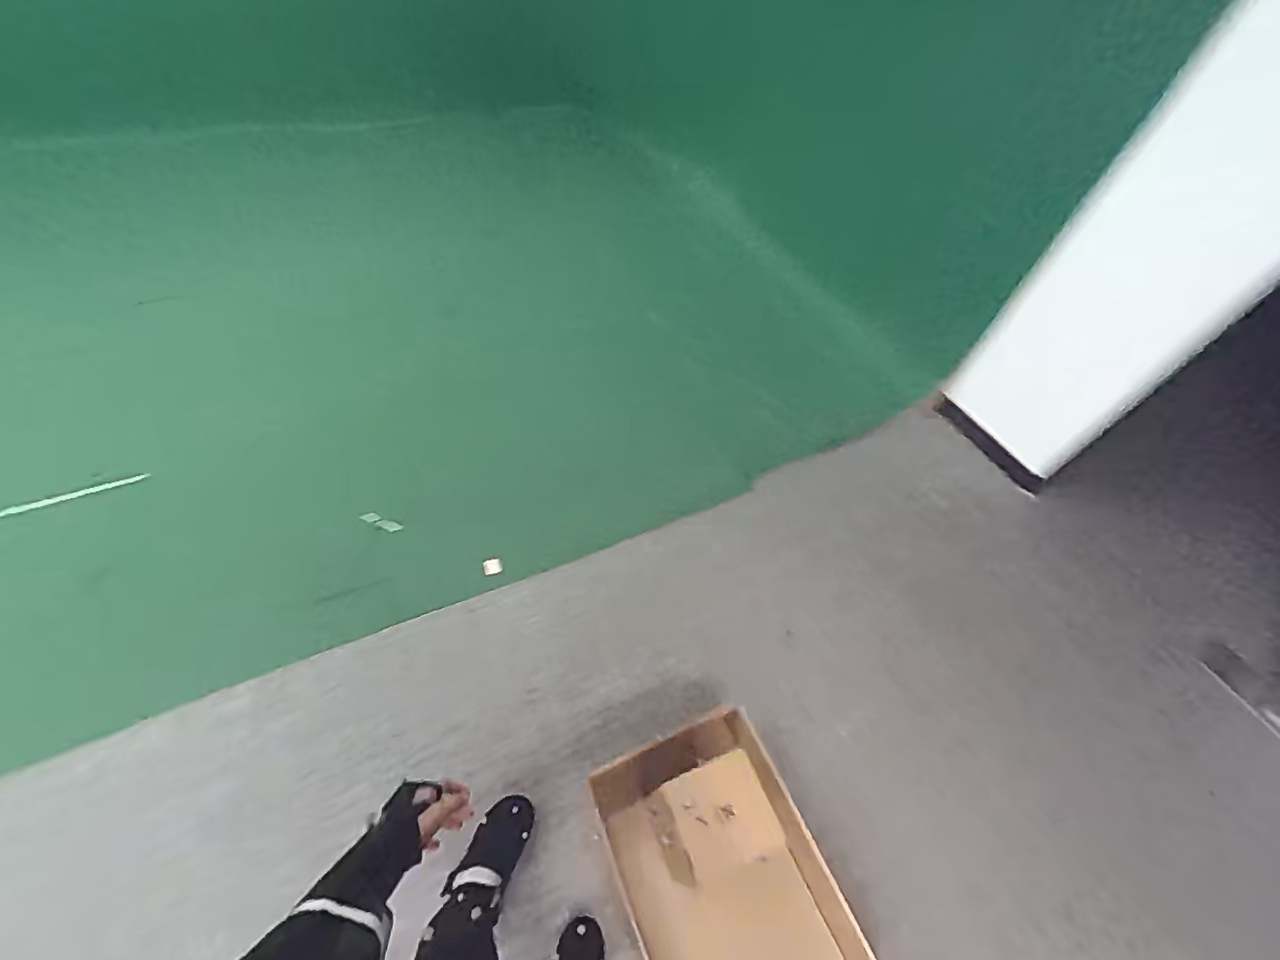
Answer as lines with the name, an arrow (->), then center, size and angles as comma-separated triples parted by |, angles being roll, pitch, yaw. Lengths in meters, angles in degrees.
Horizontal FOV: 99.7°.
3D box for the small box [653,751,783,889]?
small box -> 0.136, 0.638, 1.021 | 0.179, 0.176, 0.168 | -15, 56, -15
